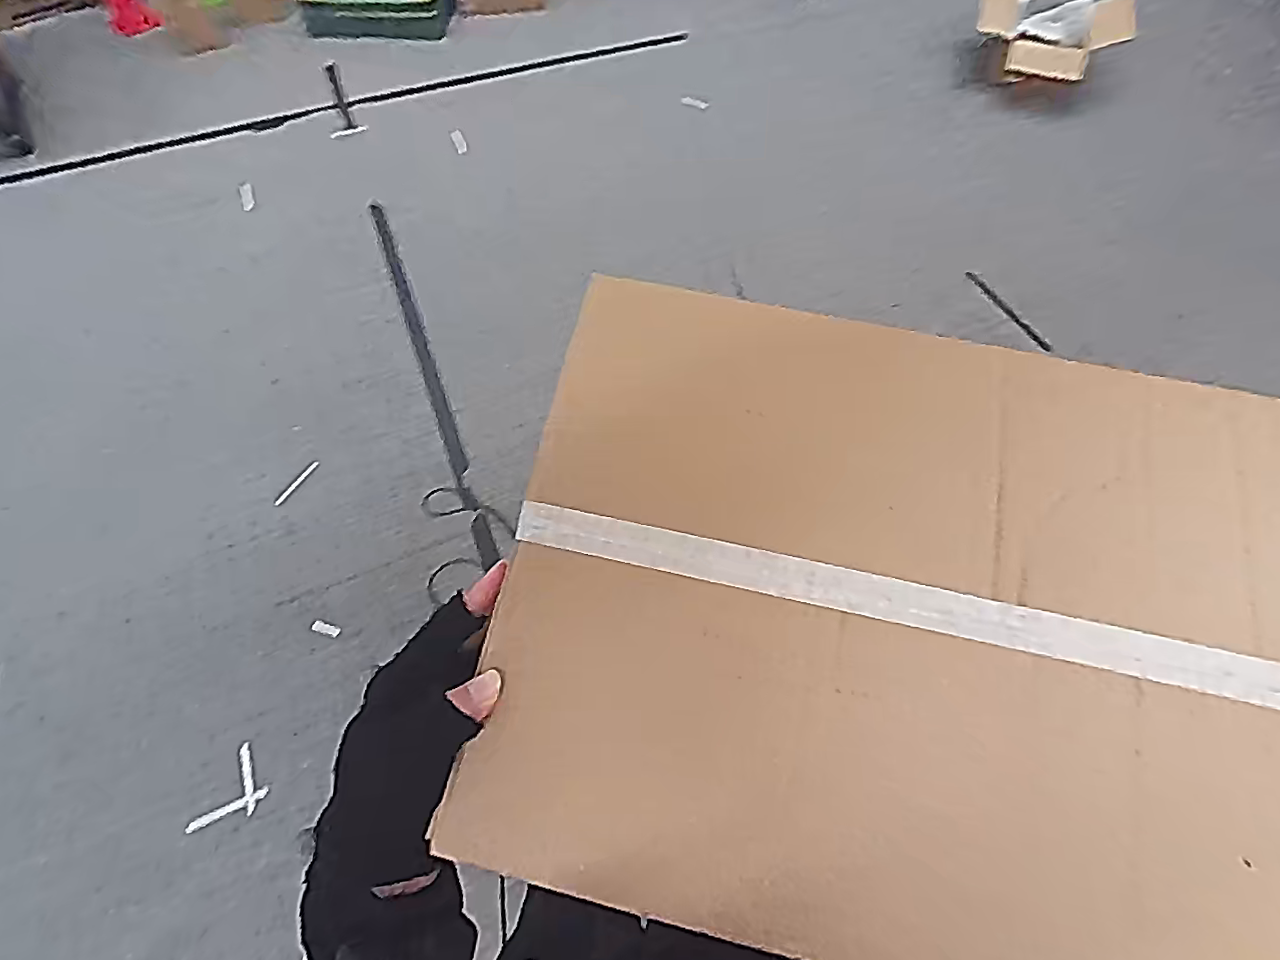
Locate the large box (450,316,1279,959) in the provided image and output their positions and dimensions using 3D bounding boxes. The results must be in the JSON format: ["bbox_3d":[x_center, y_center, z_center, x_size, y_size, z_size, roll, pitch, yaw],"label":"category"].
[{"bbox_3d":[0.131,0.113,0.426,0.408,0.320,0.320,10,74,4],"label":"large box"}]
